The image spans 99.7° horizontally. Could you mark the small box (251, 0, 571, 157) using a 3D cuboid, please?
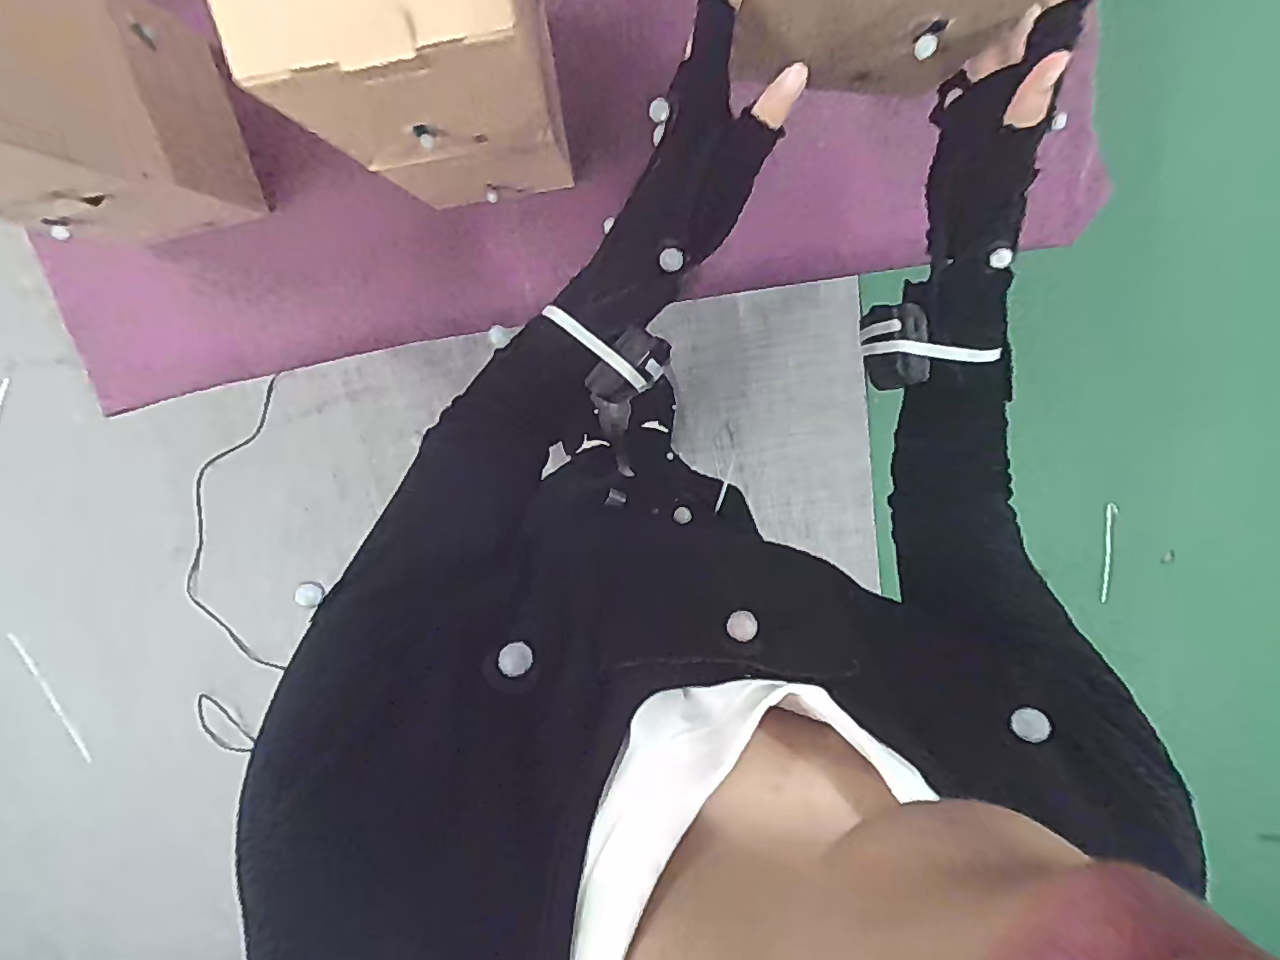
[{"bbox_3d":[-0.147,-0.351,0.367,0.168,0.176,0.179,-9,106,1],"label":"small box"}]

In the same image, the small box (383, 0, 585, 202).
[{"bbox_3d":[-0.150,-0.392,0.525,0.168,0.176,0.179,-7,105,1],"label":"small box"}]

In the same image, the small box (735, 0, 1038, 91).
[{"bbox_3d":[0.156,-0.357,0.302,0.168,0.176,0.179,5,102,-4],"label":"small box"}]

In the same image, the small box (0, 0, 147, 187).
[{"bbox_3d":[-0.500,-0.314,0.366,0.168,0.176,0.179,-8,105,-1],"label":"small box"}]
